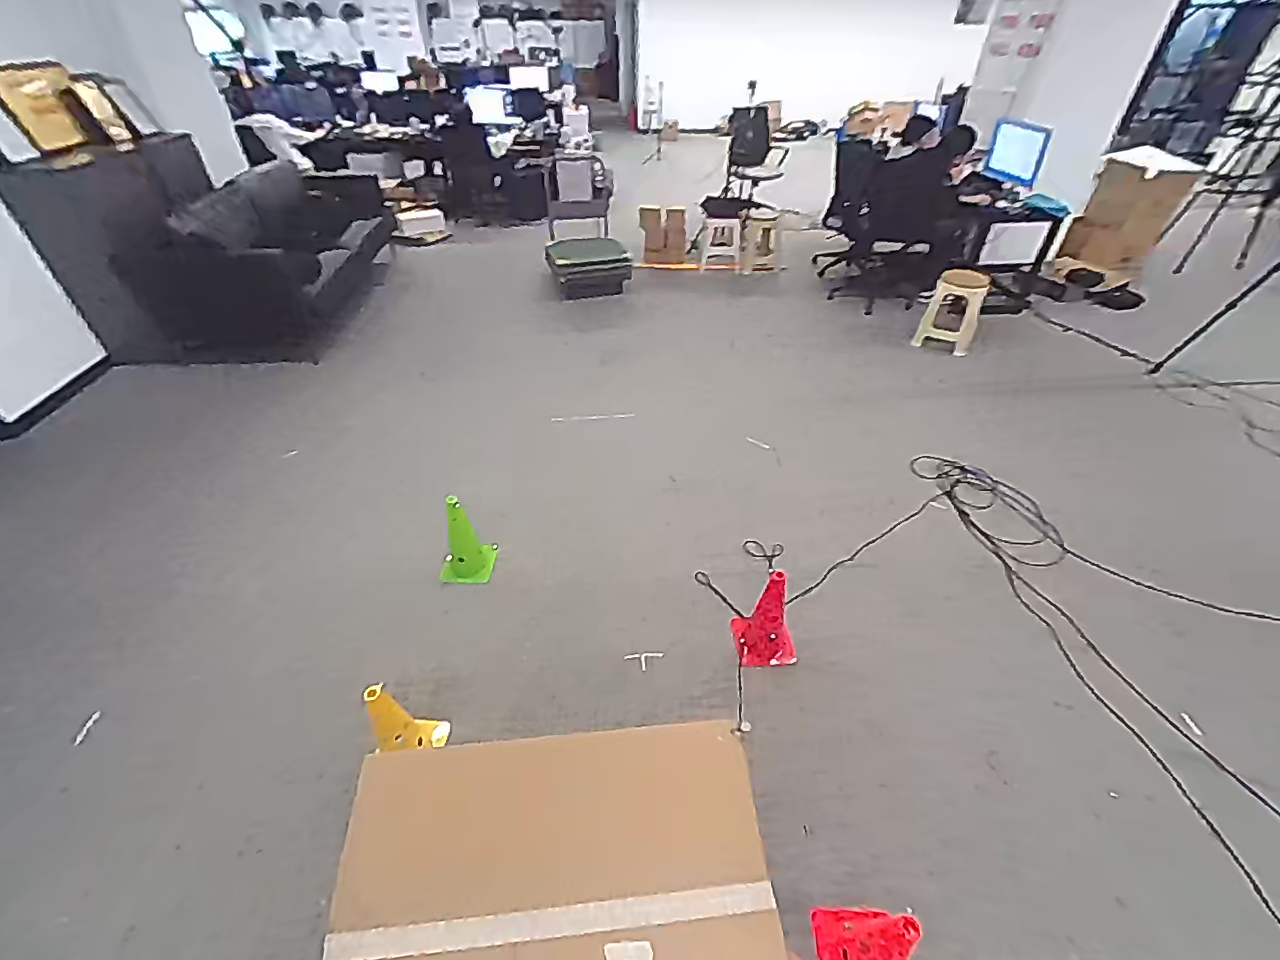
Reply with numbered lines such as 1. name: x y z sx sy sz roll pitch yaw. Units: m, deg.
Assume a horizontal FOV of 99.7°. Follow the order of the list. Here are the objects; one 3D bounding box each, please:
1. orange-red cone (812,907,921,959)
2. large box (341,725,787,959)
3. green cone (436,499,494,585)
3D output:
1. orange-red cone: 0.518 0.995 1.151 0.199 0.360 0.198 3 41 0
2. large box: -0.073 0.502 0.611 0.408 0.320 0.320 -4 52 -4
3. green cone: -0.706 0.214 2.079 0.200 0.368 0.202 1 41 1
